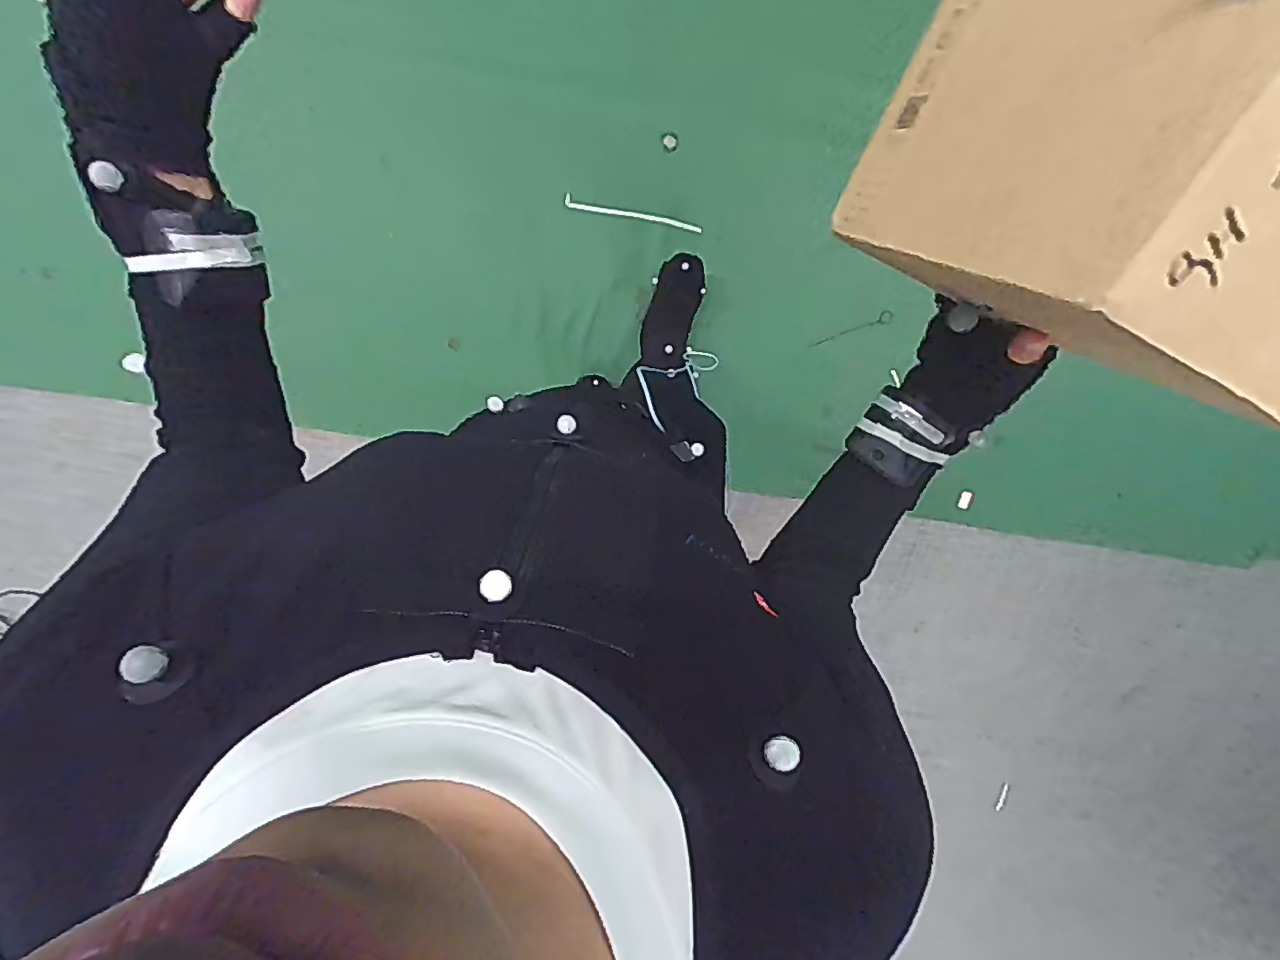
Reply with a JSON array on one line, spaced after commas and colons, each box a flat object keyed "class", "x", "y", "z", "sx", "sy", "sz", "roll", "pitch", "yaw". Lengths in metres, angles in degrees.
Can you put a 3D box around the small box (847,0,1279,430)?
[{"class": "small box", "x": 0.238, "y": -0.148, "z": 0.242, "sx": 0.179, "sy": 0.176, "sz": 0.168, "roll": 14, "pitch": 117, "yaw": -26}]
